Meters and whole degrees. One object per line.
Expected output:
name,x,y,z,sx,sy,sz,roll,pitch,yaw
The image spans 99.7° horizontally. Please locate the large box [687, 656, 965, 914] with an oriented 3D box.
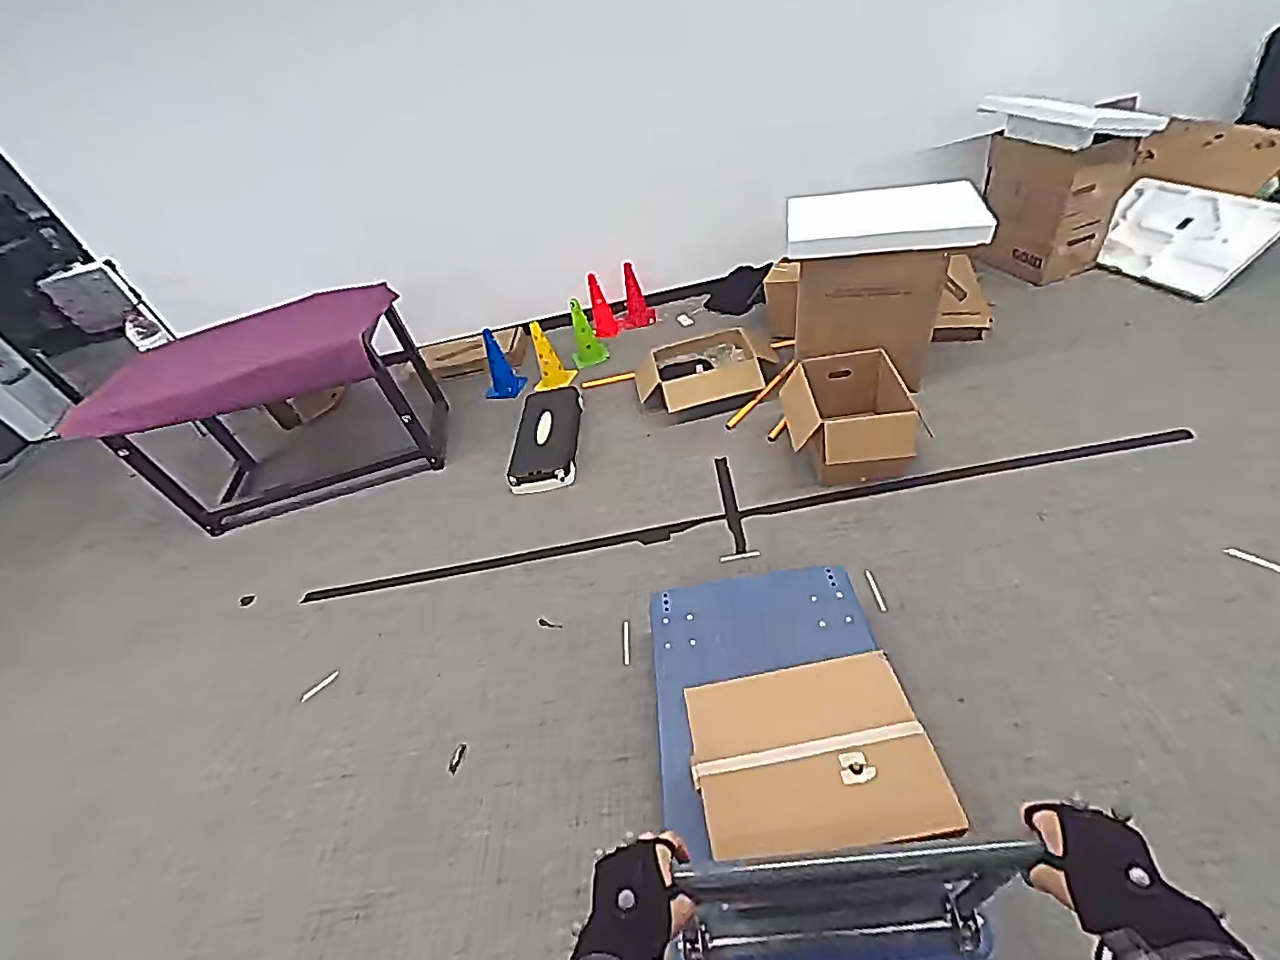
large box,0.329,0.599,1.062,0.408,0.320,0.320,-12,42,2
